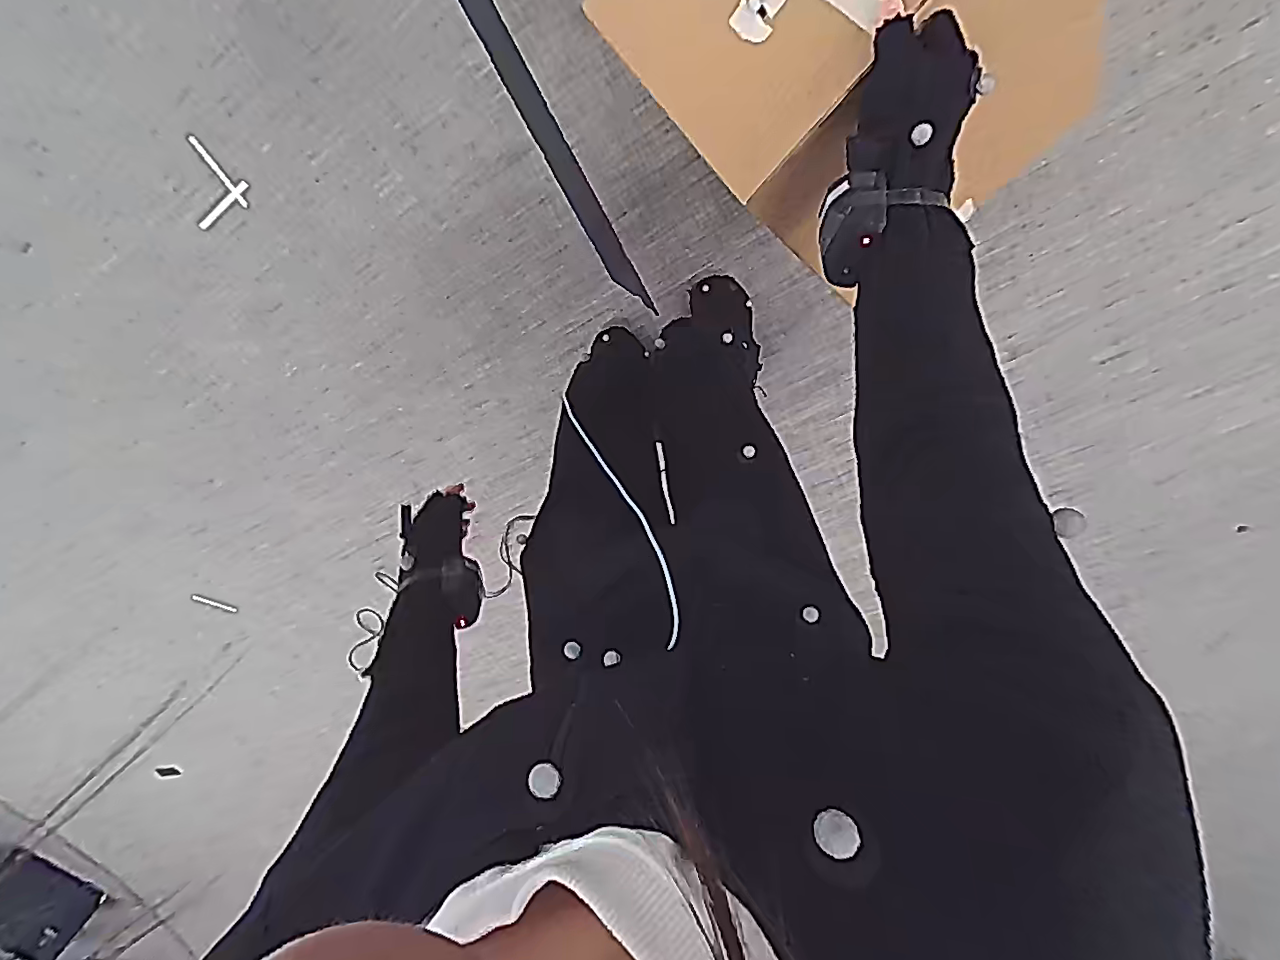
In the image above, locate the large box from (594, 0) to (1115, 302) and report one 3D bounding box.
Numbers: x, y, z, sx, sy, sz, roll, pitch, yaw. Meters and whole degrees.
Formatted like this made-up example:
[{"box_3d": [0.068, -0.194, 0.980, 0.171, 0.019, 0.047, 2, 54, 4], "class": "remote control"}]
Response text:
[{"box_3d": [0.218, -0.484, 0.607, 0.320, 0.408, 0.320, 4, 140, -48], "class": "large box"}]
